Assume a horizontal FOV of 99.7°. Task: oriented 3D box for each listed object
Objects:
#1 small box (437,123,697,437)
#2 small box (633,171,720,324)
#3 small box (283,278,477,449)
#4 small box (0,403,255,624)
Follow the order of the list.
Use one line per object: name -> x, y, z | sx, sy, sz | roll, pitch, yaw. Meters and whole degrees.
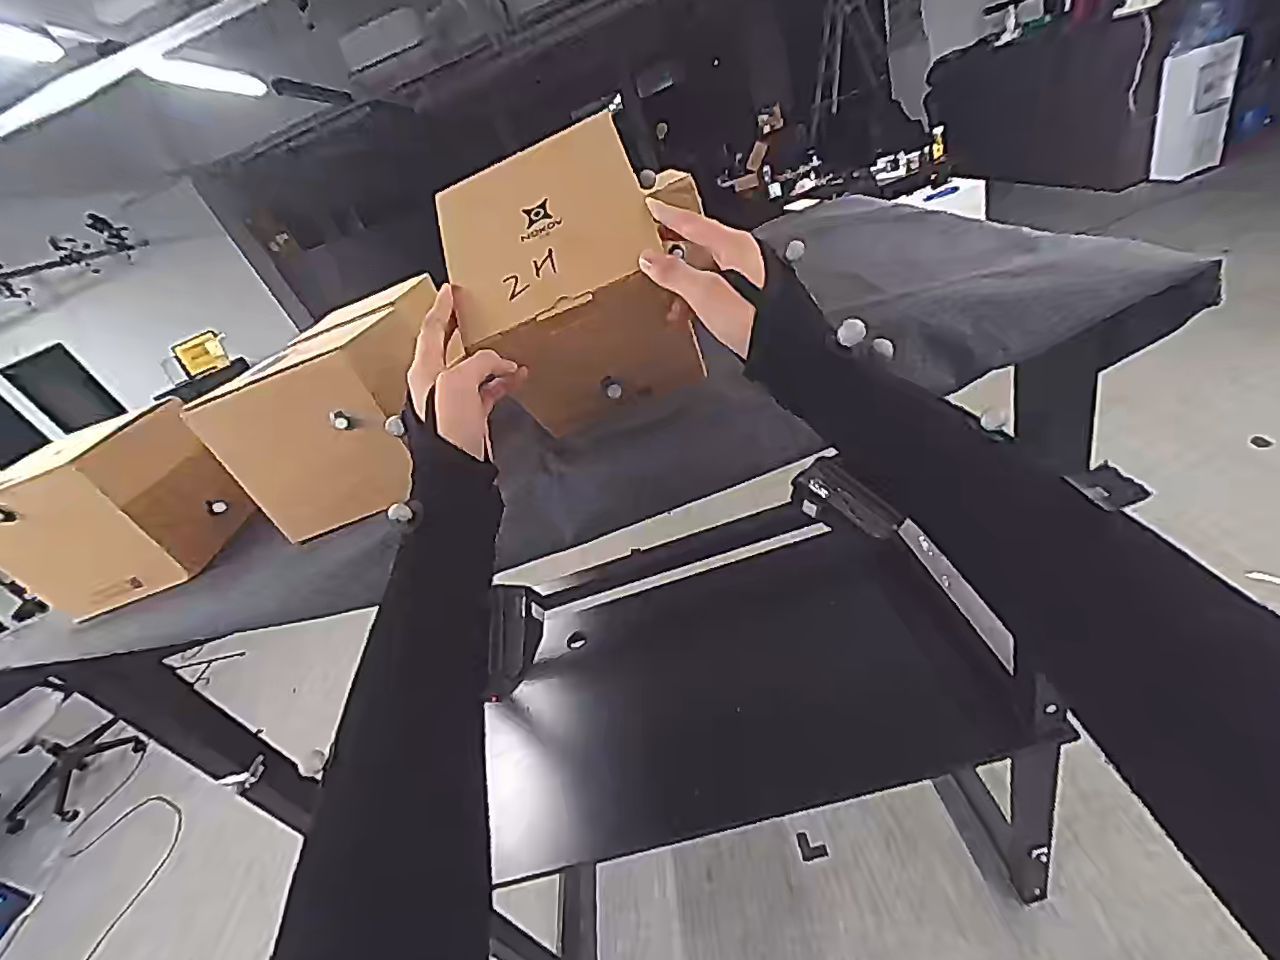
small box -> -0.059, -0.168, 0.498 | 0.168, 0.176, 0.179 | -21, 66, 9
small box -> 0.002, -0.308, 0.761 | 0.168, 0.176, 0.179 | -20, 32, 5
small box -> -0.372, -0.175, 0.814 | 0.179, 0.176, 0.168 | -20, 32, 8
small box -> -0.616, 0.038, 0.648 | 0.168, 0.176, 0.179 | -21, 31, 5
